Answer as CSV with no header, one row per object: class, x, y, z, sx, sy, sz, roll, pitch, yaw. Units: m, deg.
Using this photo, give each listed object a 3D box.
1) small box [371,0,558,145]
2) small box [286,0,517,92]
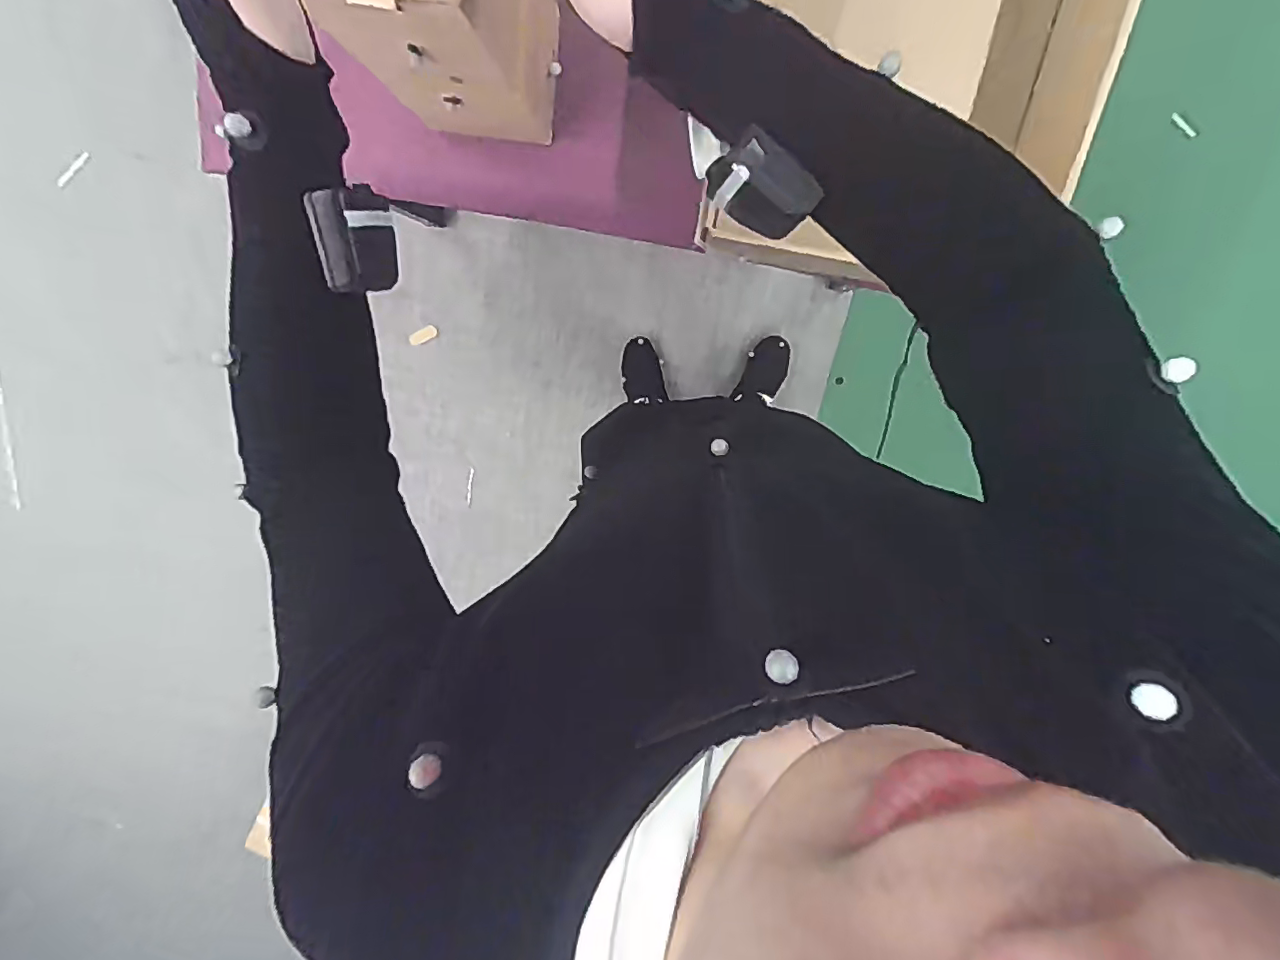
small box,-0.212,-0.549,0.685,0.179,0.176,0.168,7,104,1
small box,-0.220,-0.514,0.525,0.168,0.176,0.179,8,105,0
